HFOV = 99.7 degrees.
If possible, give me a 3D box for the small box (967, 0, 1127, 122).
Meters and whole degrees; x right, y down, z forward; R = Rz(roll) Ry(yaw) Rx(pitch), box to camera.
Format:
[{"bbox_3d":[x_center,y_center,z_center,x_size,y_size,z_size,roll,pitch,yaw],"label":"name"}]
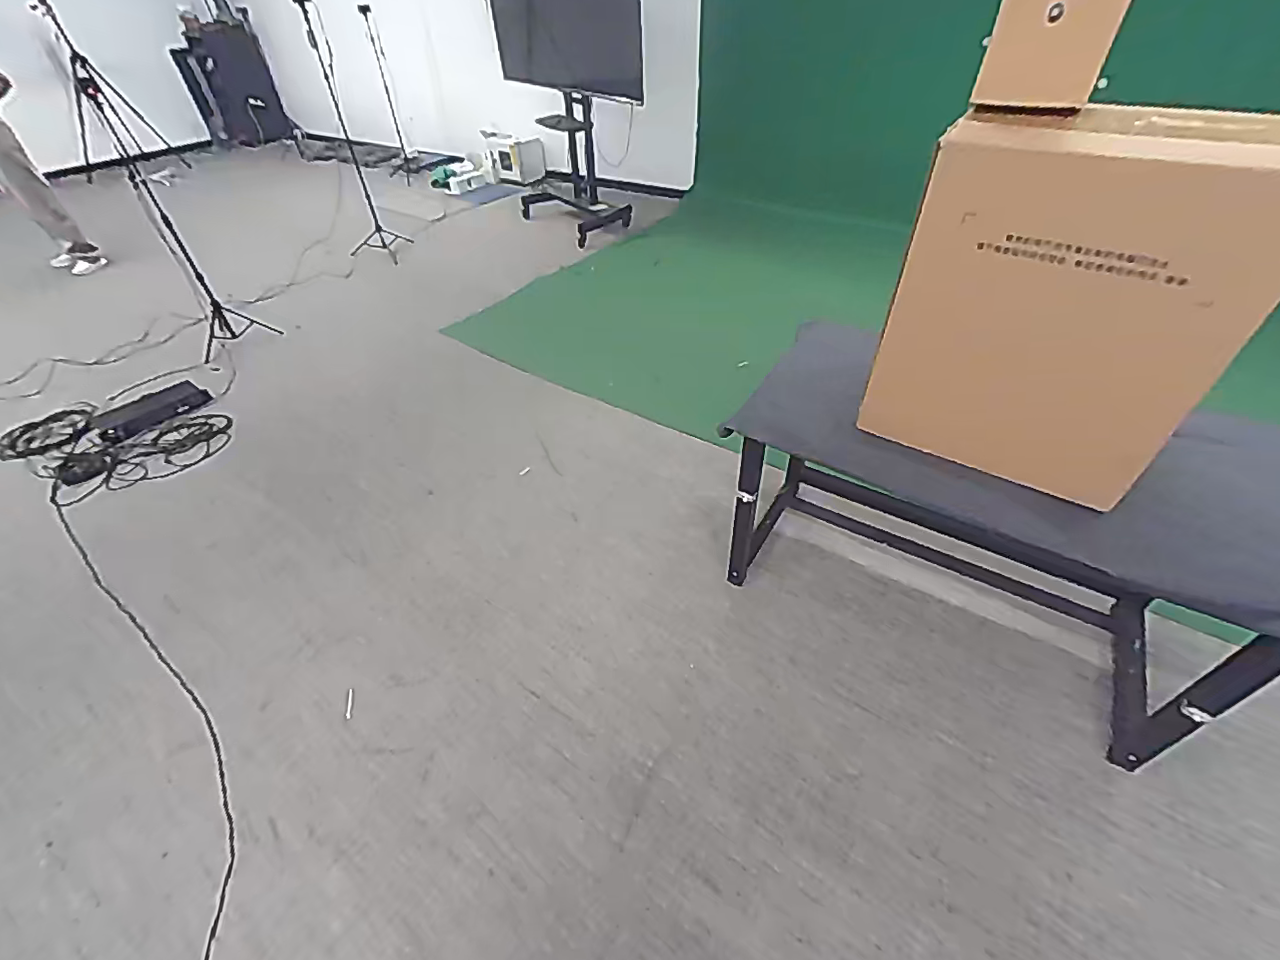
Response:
[{"bbox_3d":[0.706,-0.738,0.951,0.179,0.176,0.168,24,42,24],"label":"small box"}]
